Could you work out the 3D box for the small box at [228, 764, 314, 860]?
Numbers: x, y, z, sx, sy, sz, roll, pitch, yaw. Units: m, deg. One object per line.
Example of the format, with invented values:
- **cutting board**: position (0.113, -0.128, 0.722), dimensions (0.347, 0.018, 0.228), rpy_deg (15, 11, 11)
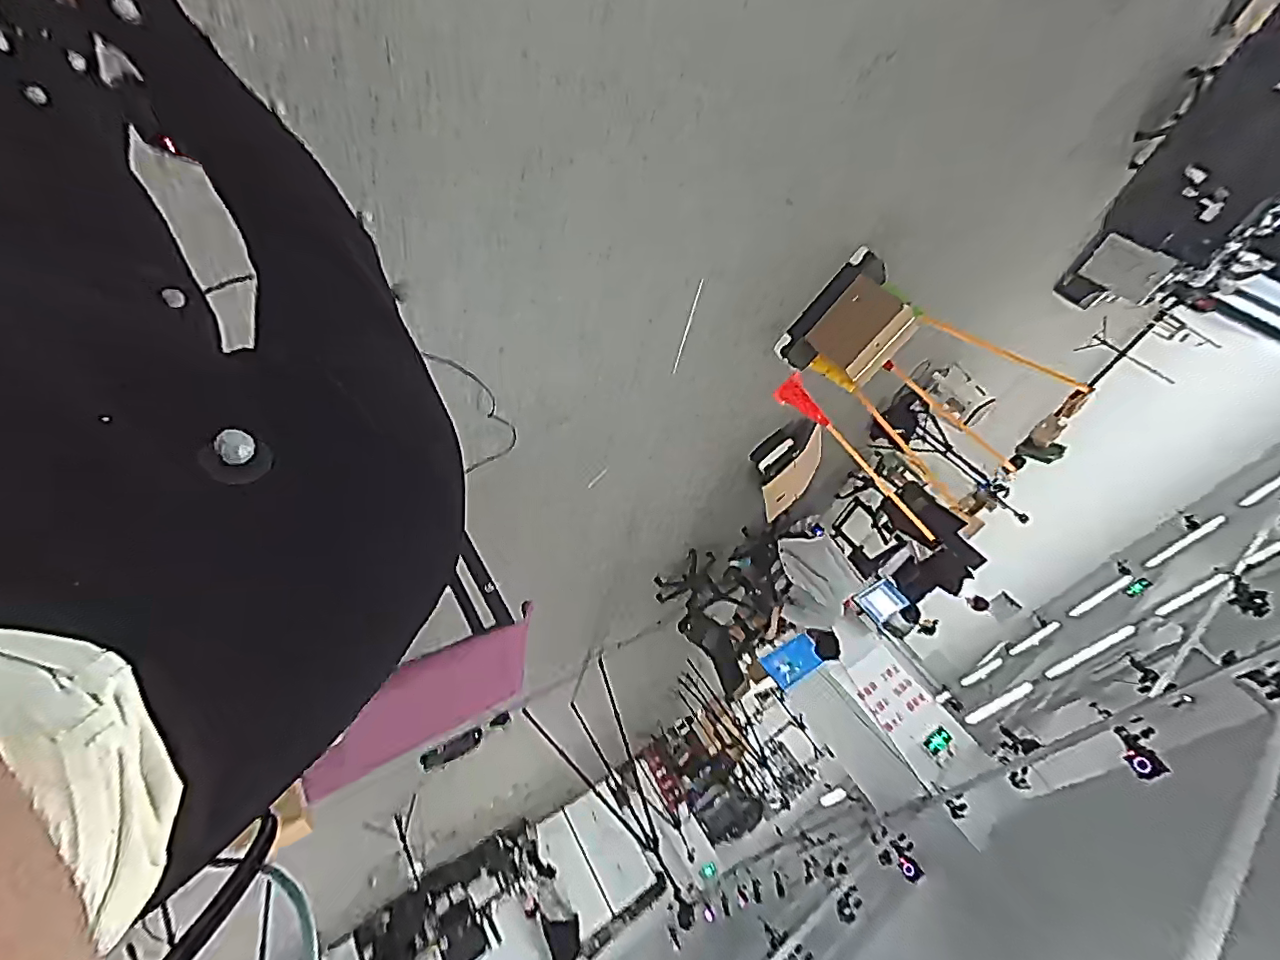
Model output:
- **small box**: position (-1.098, 0.984, 1.614), dimensions (0.168, 0.176, 0.179), rpy_deg (-19, 145, -33)
